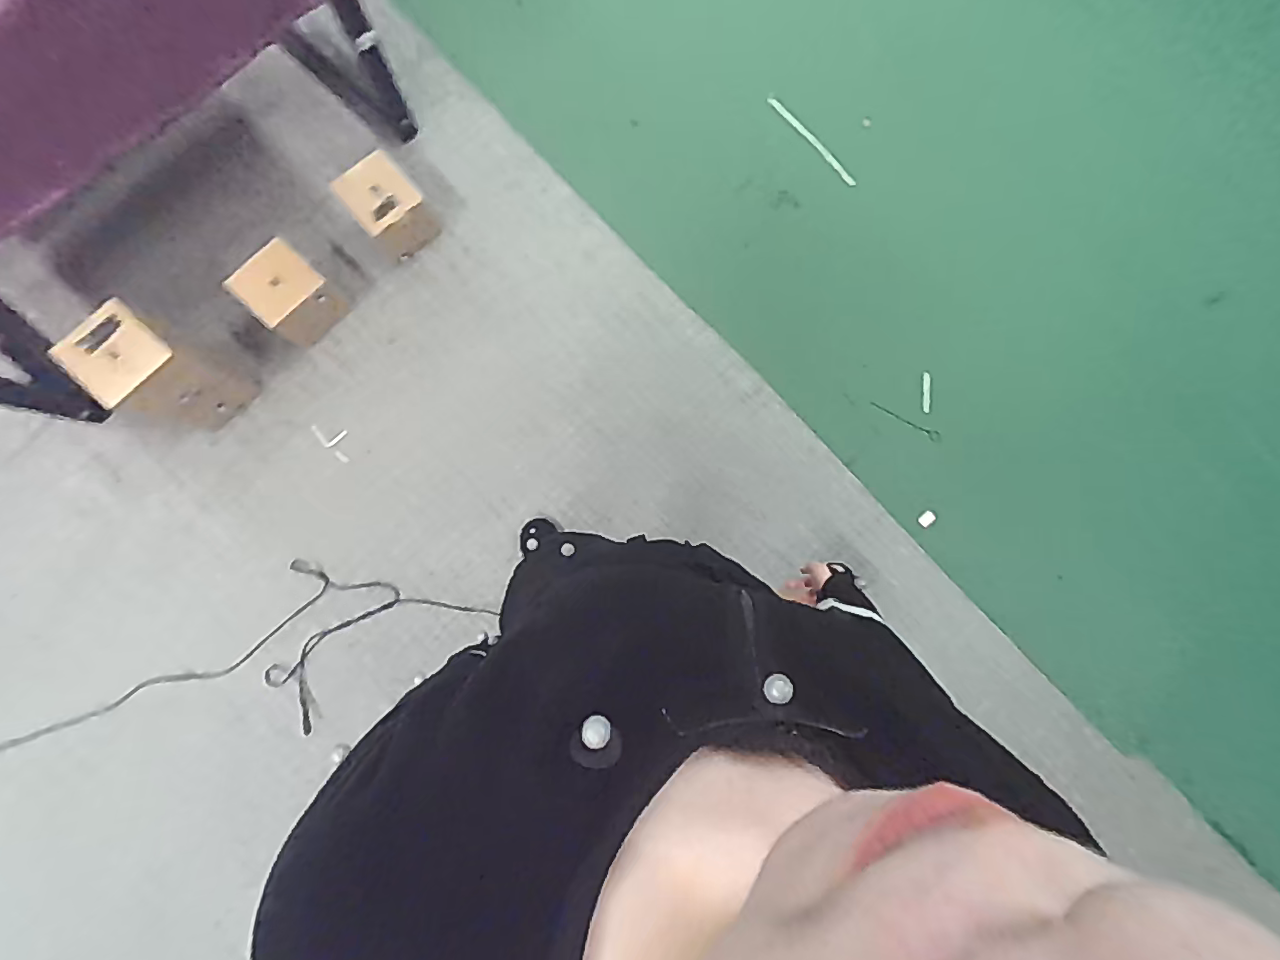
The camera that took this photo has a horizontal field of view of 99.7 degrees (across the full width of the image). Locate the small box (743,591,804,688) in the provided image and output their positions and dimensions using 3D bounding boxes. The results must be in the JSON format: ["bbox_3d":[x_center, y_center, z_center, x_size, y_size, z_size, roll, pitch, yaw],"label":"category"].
[{"bbox_3d":[0.401,0.414,1.442,0.168,0.176,0.179,-45,91,-6],"label":"small box"}]

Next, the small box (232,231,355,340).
[{"bbox_3d":[-0.893,-0.498,1.415,0.168,0.176,0.179,44,84,0],"label":"small box"}]
